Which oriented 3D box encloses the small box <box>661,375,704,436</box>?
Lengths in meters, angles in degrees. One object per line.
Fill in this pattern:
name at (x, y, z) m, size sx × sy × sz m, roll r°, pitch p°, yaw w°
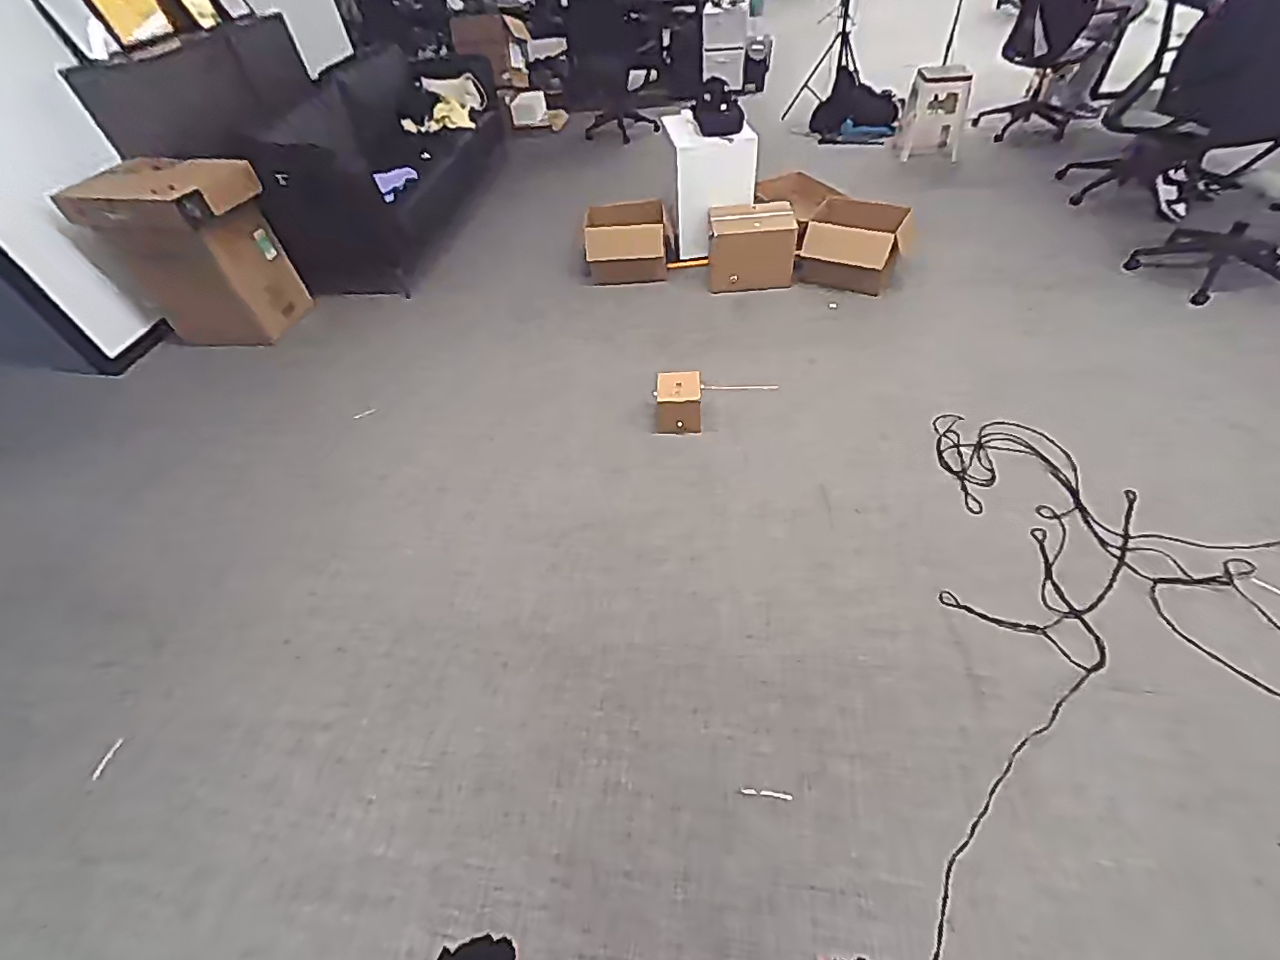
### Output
small box at (0.169, -0.293, 2.133) m, size 0.168 × 0.176 × 0.179 m, roll -1°, pitch 48°, yaw 6°
